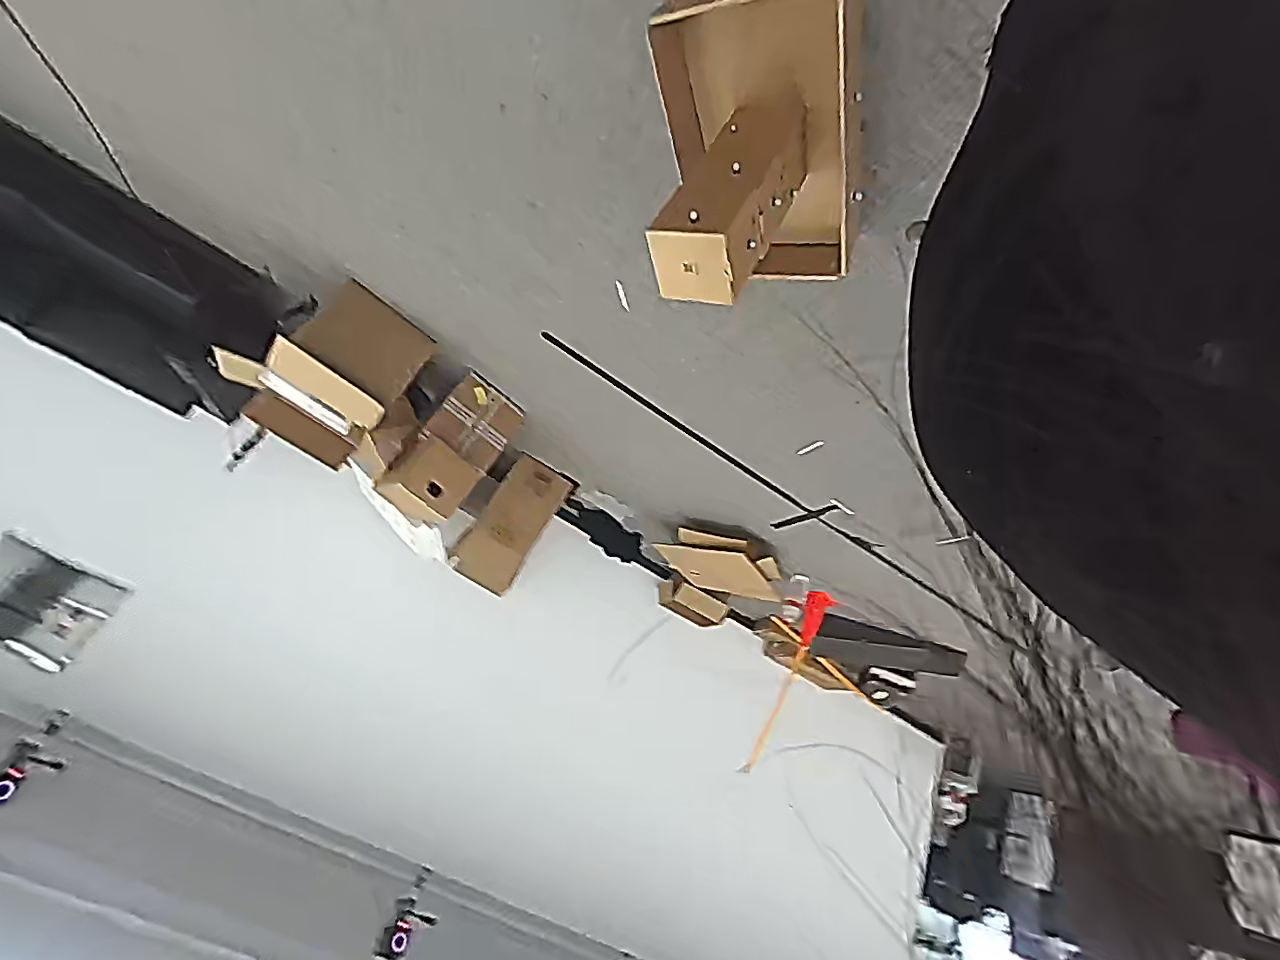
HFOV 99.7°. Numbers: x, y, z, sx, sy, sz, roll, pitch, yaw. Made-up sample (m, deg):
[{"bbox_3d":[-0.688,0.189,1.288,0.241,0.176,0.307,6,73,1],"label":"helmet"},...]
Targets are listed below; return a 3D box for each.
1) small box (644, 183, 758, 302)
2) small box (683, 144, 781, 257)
[{"bbox_3d":[0.135,-0.505,1.144,0.179,0.176,0.168,15,151,25],"label":"small box"},{"bbox_3d":[0.213,-0.629,1.216,0.179,0.176,0.168,15,151,24],"label":"small box"}]
